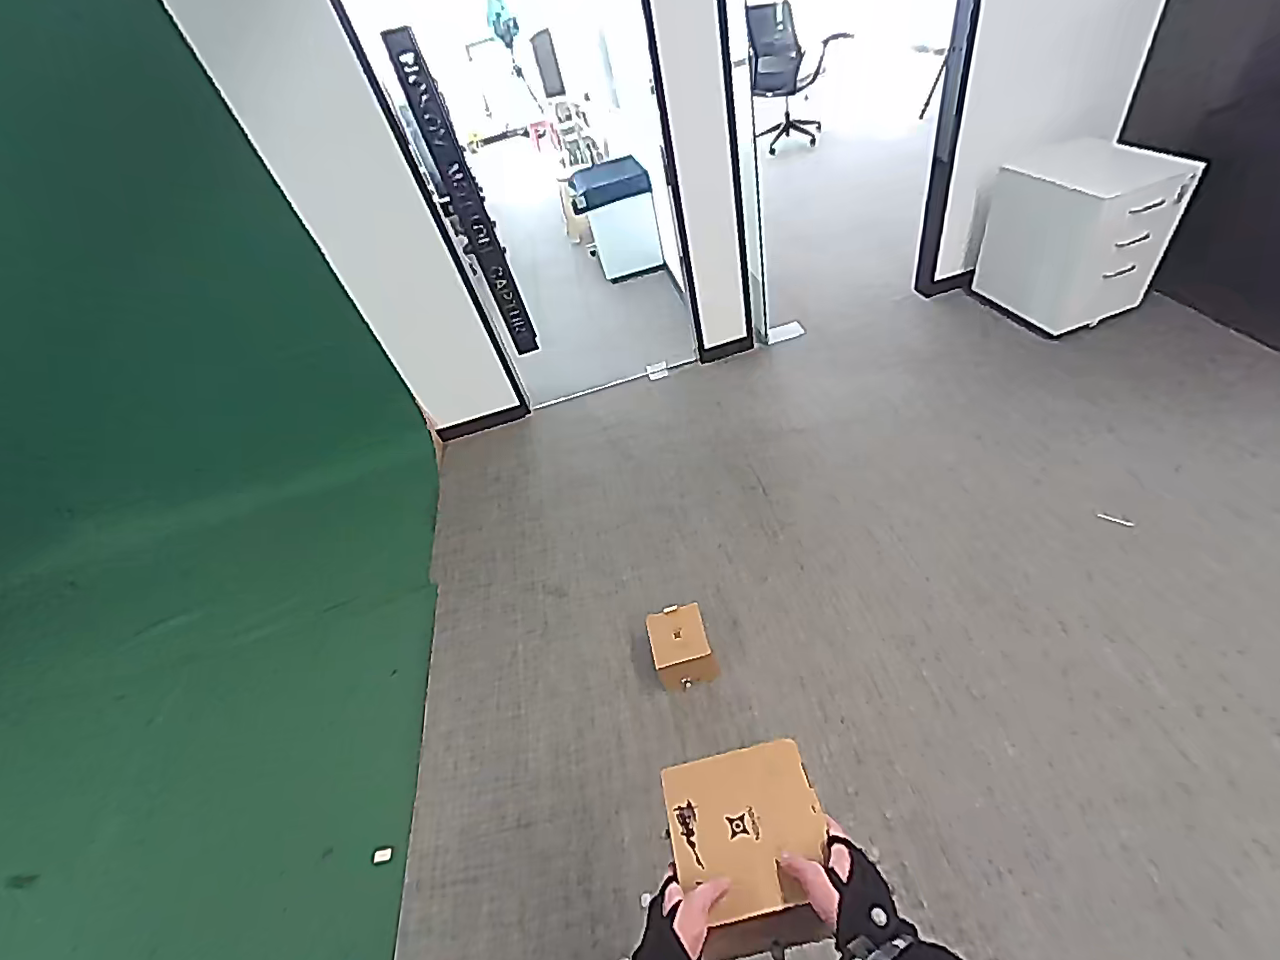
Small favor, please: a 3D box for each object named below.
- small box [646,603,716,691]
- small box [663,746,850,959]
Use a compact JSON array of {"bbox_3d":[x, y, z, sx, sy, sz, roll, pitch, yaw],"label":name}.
[{"bbox_3d":[0.123,0.502,1.623,0.168,0.176,0.179,-16,44,5],"label":"small box"},{"bbox_3d":[0.135,0.461,0.664,0.179,0.176,0.168,-13,38,0],"label":"small box"}]
